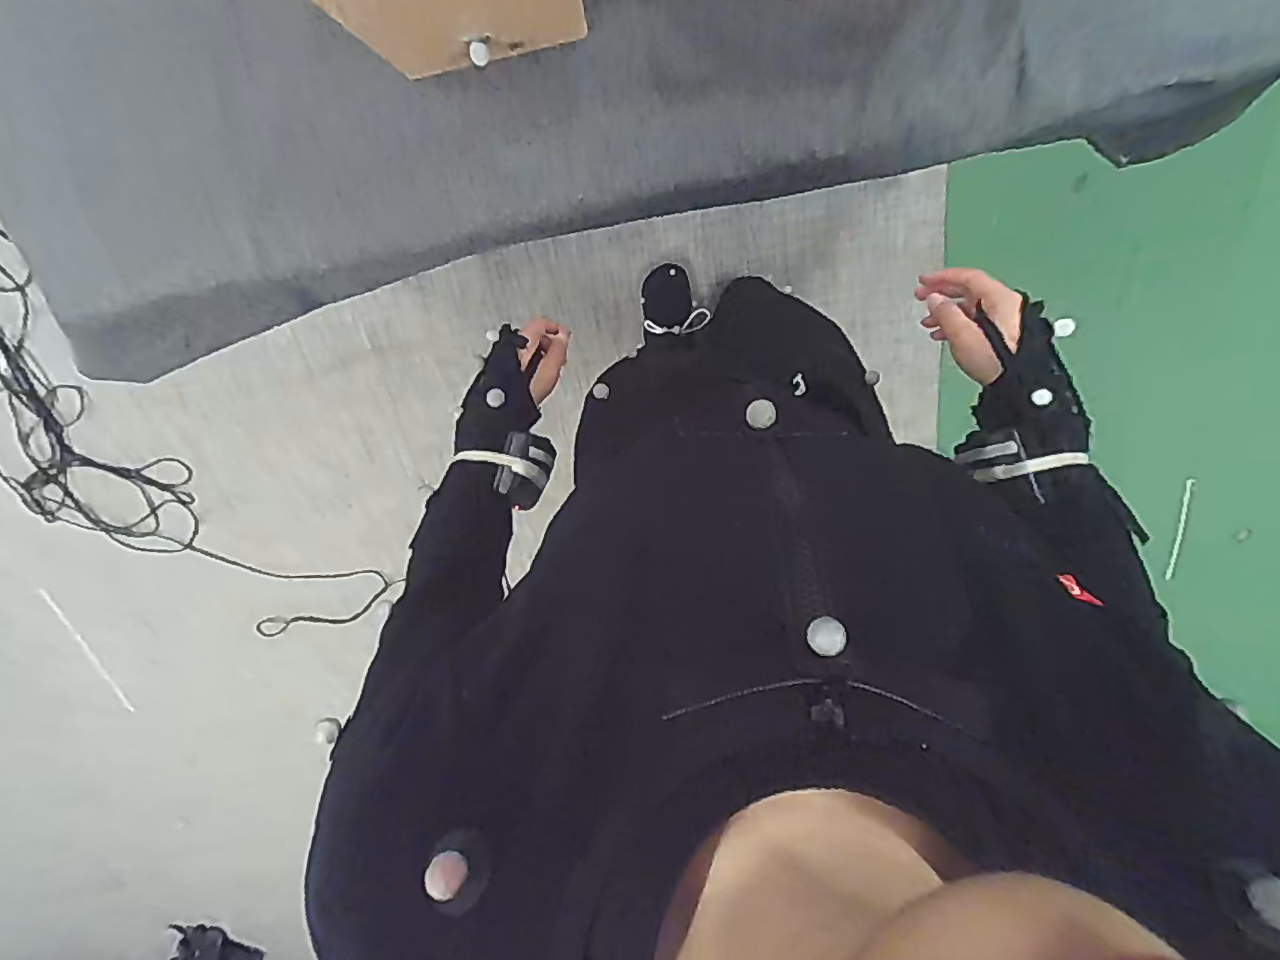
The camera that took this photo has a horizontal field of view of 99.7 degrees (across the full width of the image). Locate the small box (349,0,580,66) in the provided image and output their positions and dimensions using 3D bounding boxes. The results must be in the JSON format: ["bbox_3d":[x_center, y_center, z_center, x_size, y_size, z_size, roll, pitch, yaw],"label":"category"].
[{"bbox_3d":[-0.143,-0.428,0.371,0.168,0.176,0.179,-10,113,4],"label":"small box"}]
